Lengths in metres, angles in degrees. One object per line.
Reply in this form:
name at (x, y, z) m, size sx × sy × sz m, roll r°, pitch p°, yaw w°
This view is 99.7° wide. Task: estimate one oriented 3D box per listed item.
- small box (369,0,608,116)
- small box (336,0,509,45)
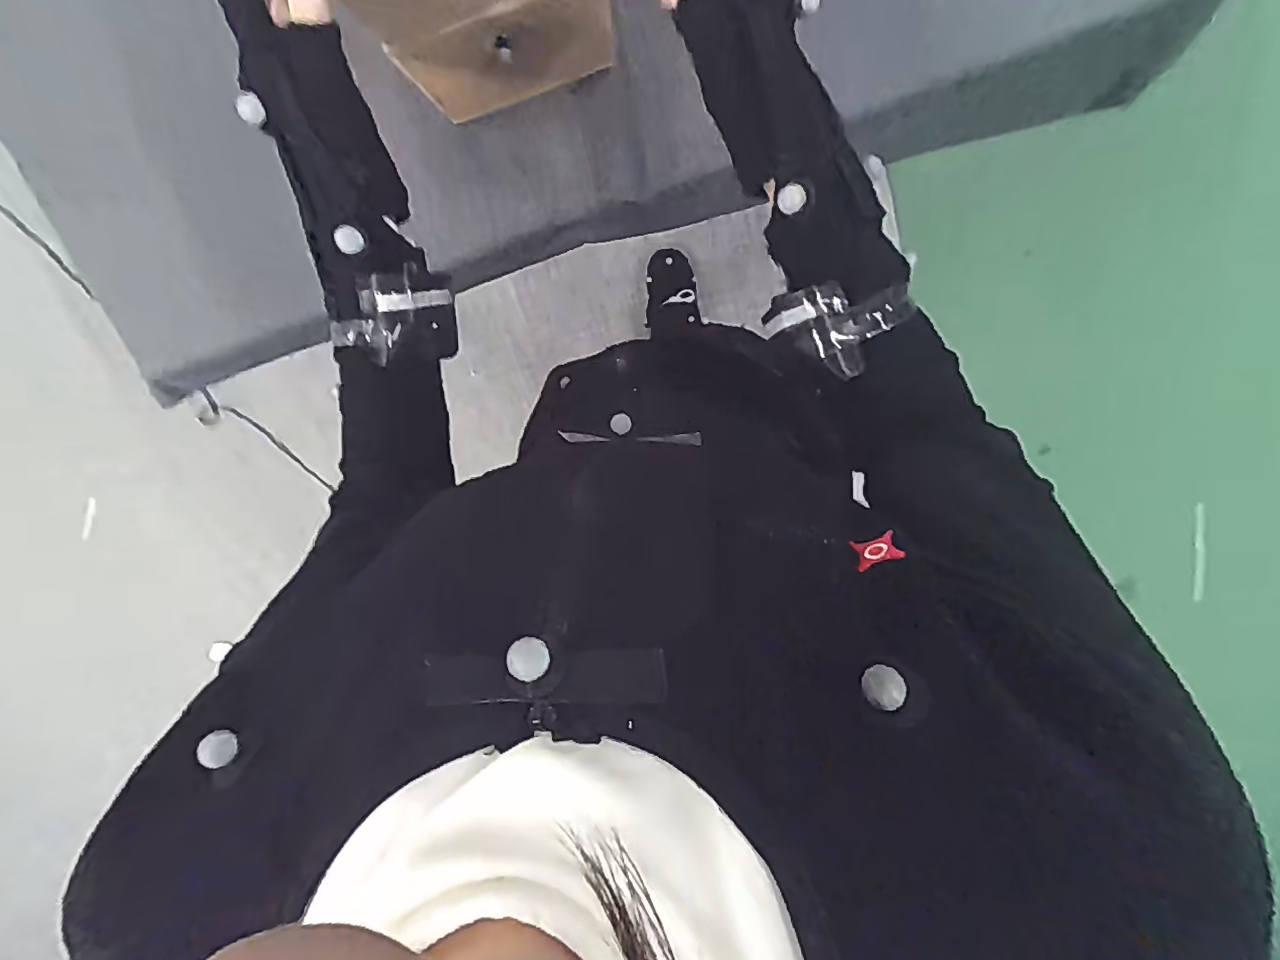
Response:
small box at (-0.135, -0.440, 0.451) m, size 0.179 × 0.176 × 0.168 m, roll -16°, pitch 108°, yaw 5°
small box at (-0.134, -0.392, 0.295) m, size 0.179 × 0.176 × 0.168 m, roll -18°, pitch 108°, yaw 7°
